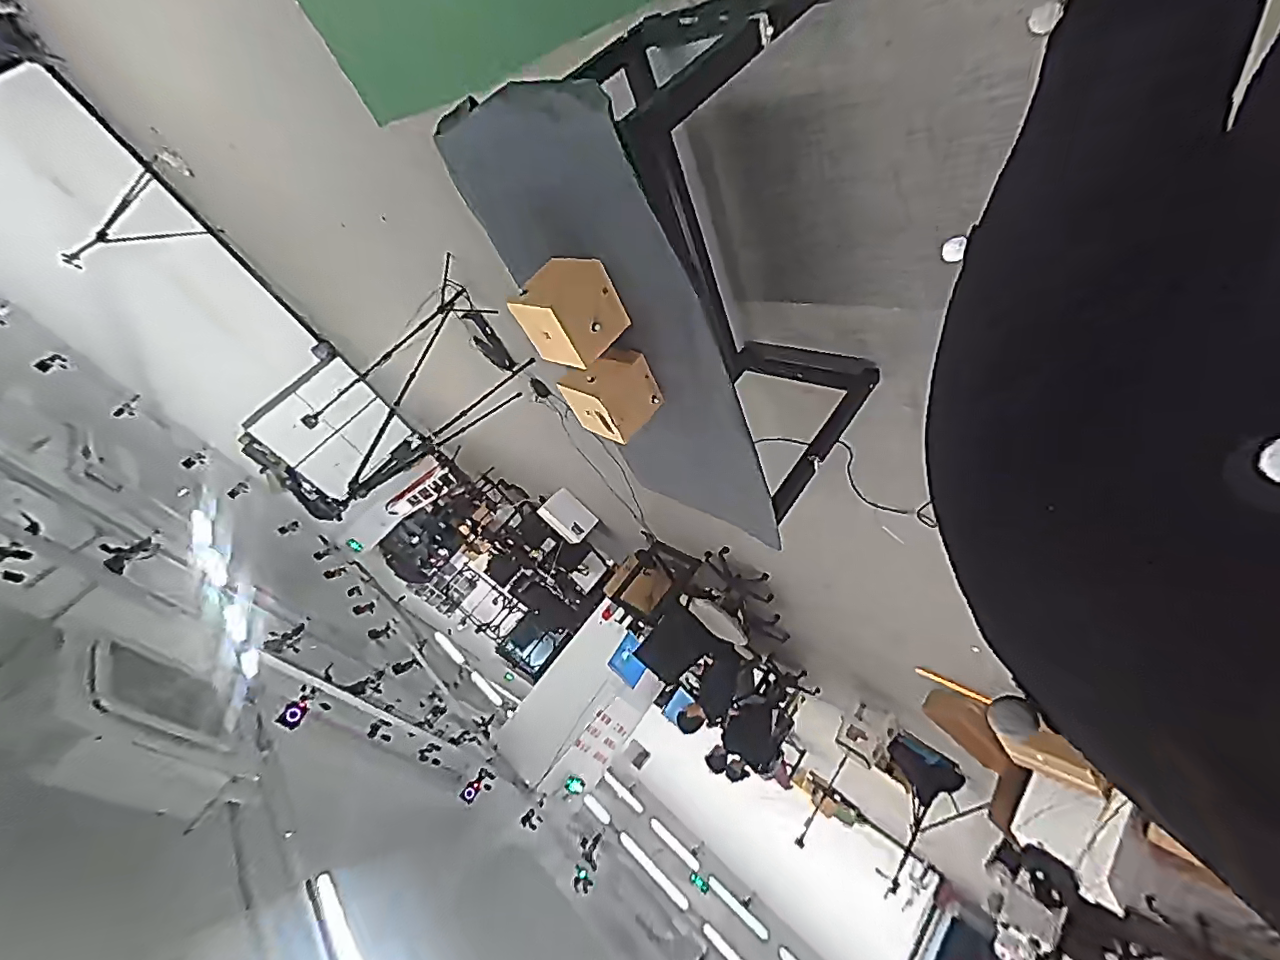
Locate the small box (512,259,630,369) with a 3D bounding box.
[{"bbox_3d":[-0.145,-0.379,1.223,0.179,0.176,0.168,23,155,42],"label":"small box"}]

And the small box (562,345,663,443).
[{"bbox_3d":[-0.060,-0.228,1.400,0.179,0.176,0.168,25,156,40],"label":"small box"}]
